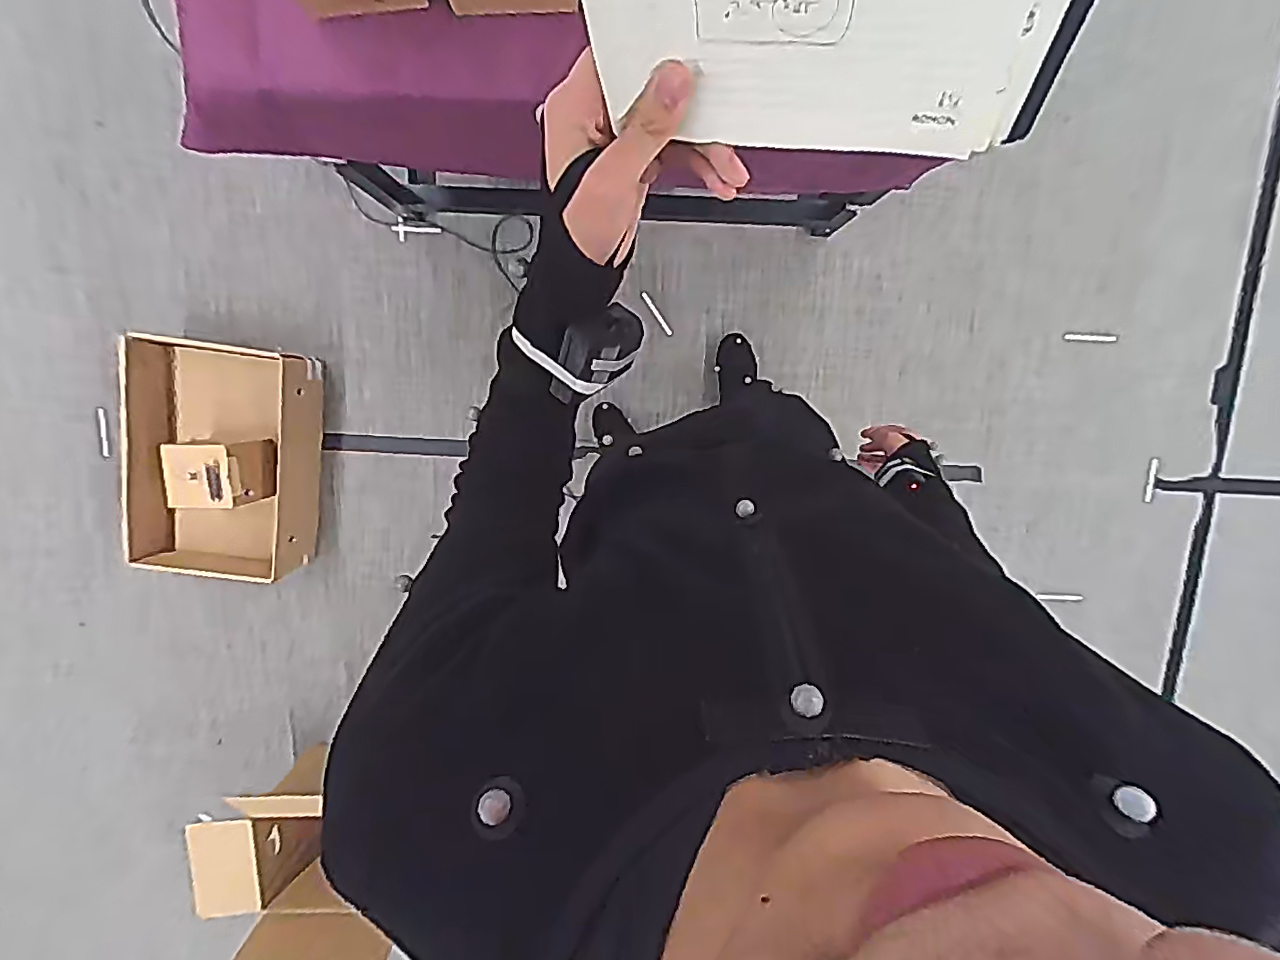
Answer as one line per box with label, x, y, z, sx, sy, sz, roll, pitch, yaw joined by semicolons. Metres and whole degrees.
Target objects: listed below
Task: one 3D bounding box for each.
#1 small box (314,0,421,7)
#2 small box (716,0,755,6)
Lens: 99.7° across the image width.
small box;-0.380;-0.725;0.661;0.168;0.176;0.179;-6;100;-1
small box;0.093;-0.741;0.667;0.168;0.176;0.179;5;99;-2
